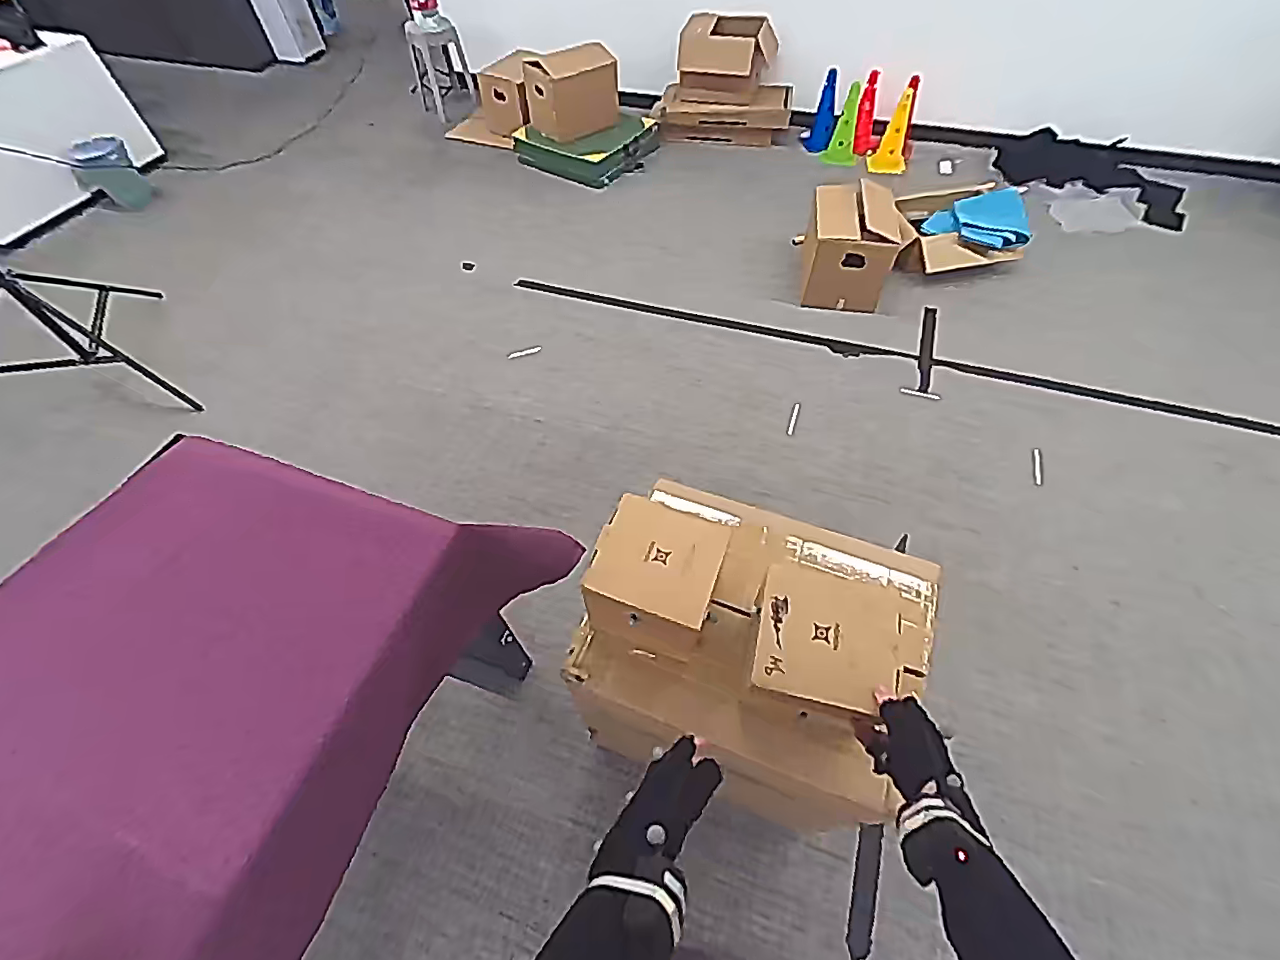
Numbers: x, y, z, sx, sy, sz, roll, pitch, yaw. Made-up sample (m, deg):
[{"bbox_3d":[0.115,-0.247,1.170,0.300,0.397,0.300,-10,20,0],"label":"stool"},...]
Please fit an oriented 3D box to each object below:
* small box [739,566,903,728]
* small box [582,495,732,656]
[{"bbox_3d":[0.245,0.240,0.758,0.179,0.176,0.168,11,63,10],"label":"small box"},{"bbox_3d":[0.030,0.152,0.834,0.179,0.176,0.168,15,59,13],"label":"small box"}]
